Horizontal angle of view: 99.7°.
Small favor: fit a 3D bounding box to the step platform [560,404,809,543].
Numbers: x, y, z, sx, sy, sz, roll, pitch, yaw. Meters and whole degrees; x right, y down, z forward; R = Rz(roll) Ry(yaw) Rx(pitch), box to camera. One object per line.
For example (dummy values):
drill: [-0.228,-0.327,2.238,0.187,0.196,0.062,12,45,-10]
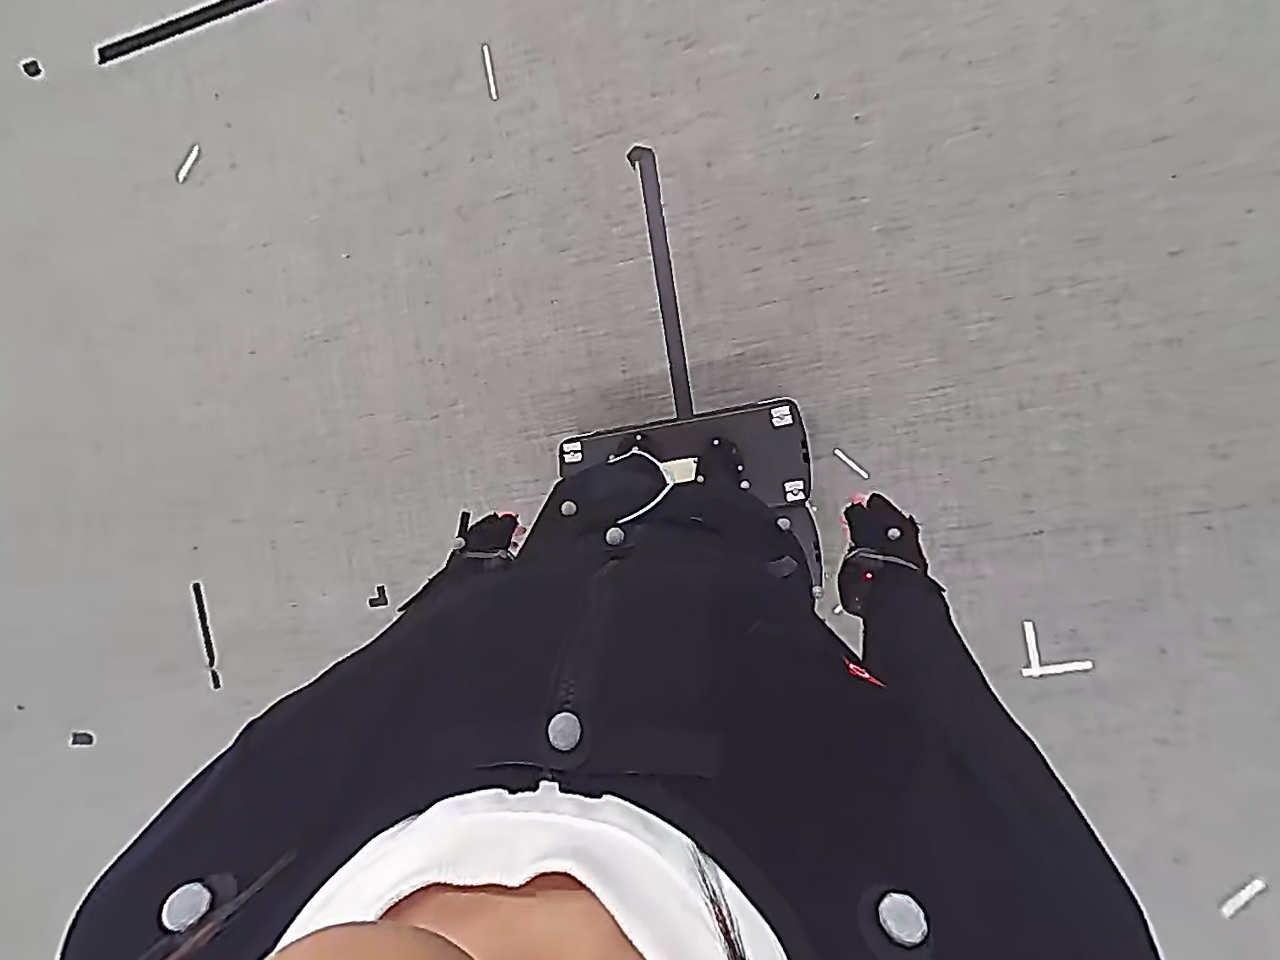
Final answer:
step platform: [0.119,-0.015,1.530,0.684,0.204,0.286,-10,95,10]
